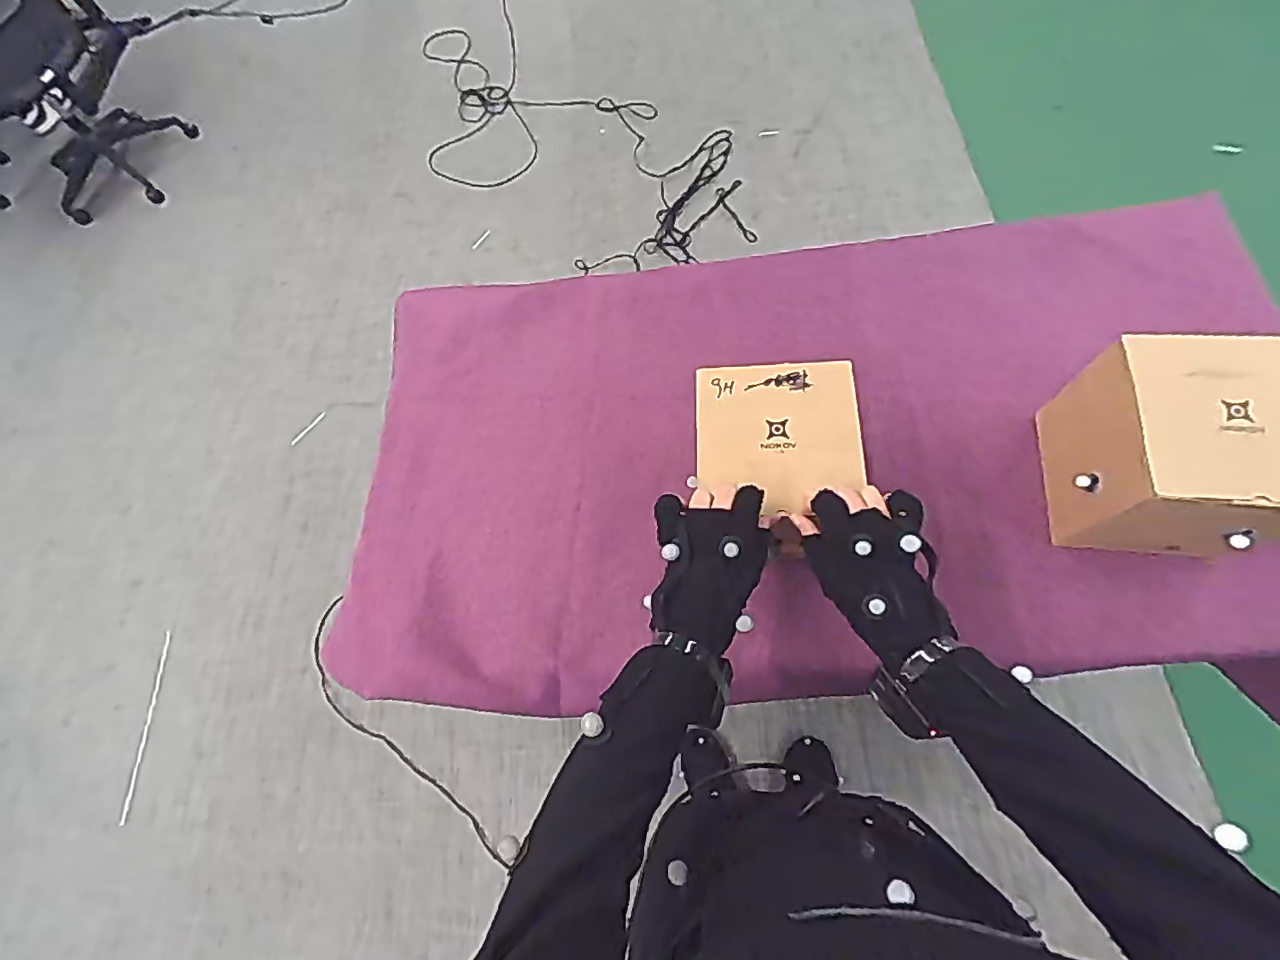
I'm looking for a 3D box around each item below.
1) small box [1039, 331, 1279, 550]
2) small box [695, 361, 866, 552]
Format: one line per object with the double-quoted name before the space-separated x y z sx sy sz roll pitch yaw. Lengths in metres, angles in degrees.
"small box" 0.556 -0.032 0.566 0.168 0.176 0.179 4 69 11
"small box" 0.152 -0.016 0.627 0.168 0.176 0.179 -1 69 8
